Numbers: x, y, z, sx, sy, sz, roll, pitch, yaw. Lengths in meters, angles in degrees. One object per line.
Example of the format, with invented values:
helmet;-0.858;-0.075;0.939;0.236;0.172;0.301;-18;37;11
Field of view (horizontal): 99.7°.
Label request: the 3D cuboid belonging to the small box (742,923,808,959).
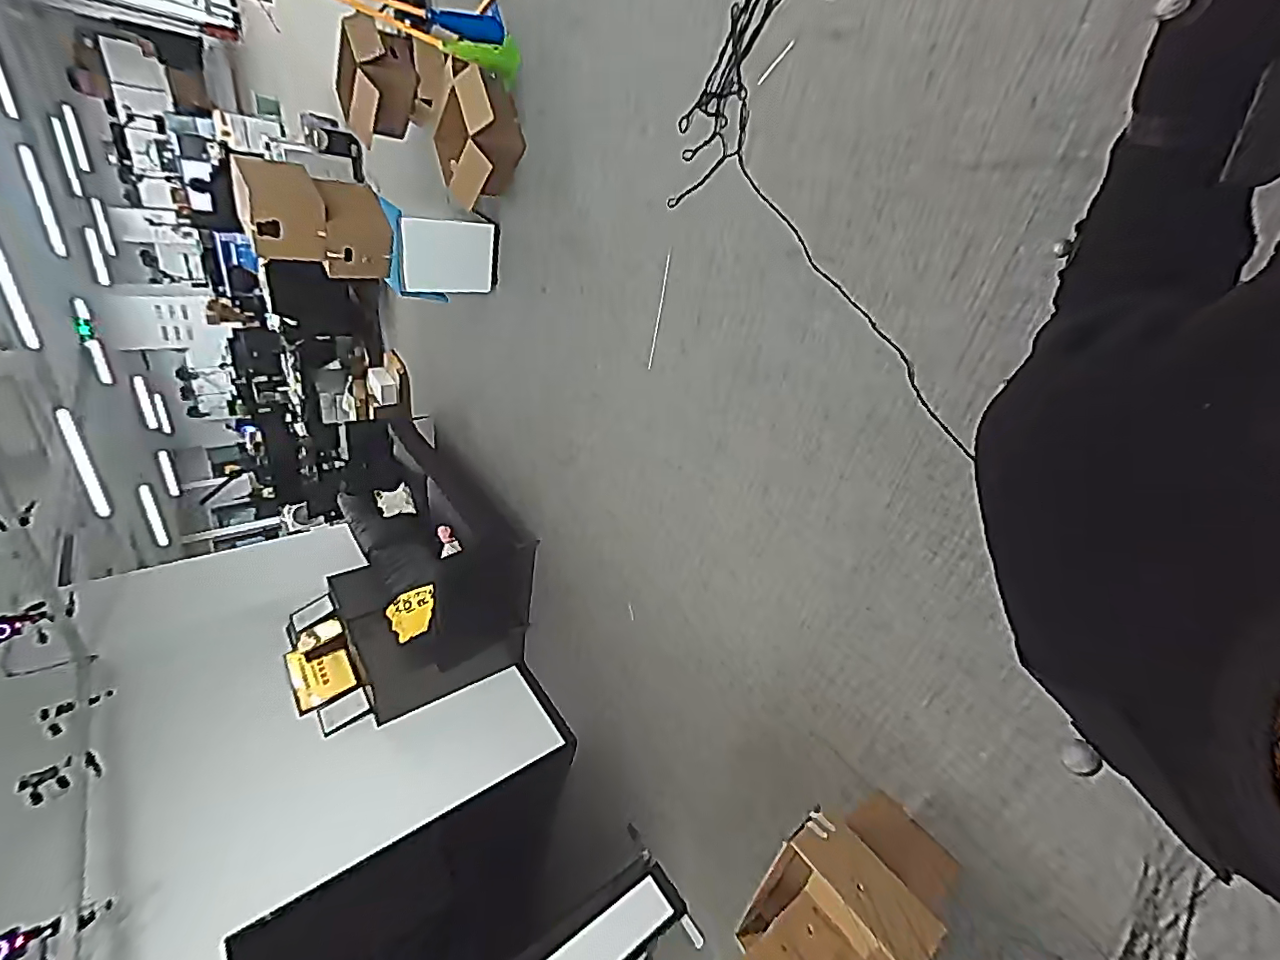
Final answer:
small box;0.377;1.400;1.505;0.168;0.176;0.179;32;124;42
